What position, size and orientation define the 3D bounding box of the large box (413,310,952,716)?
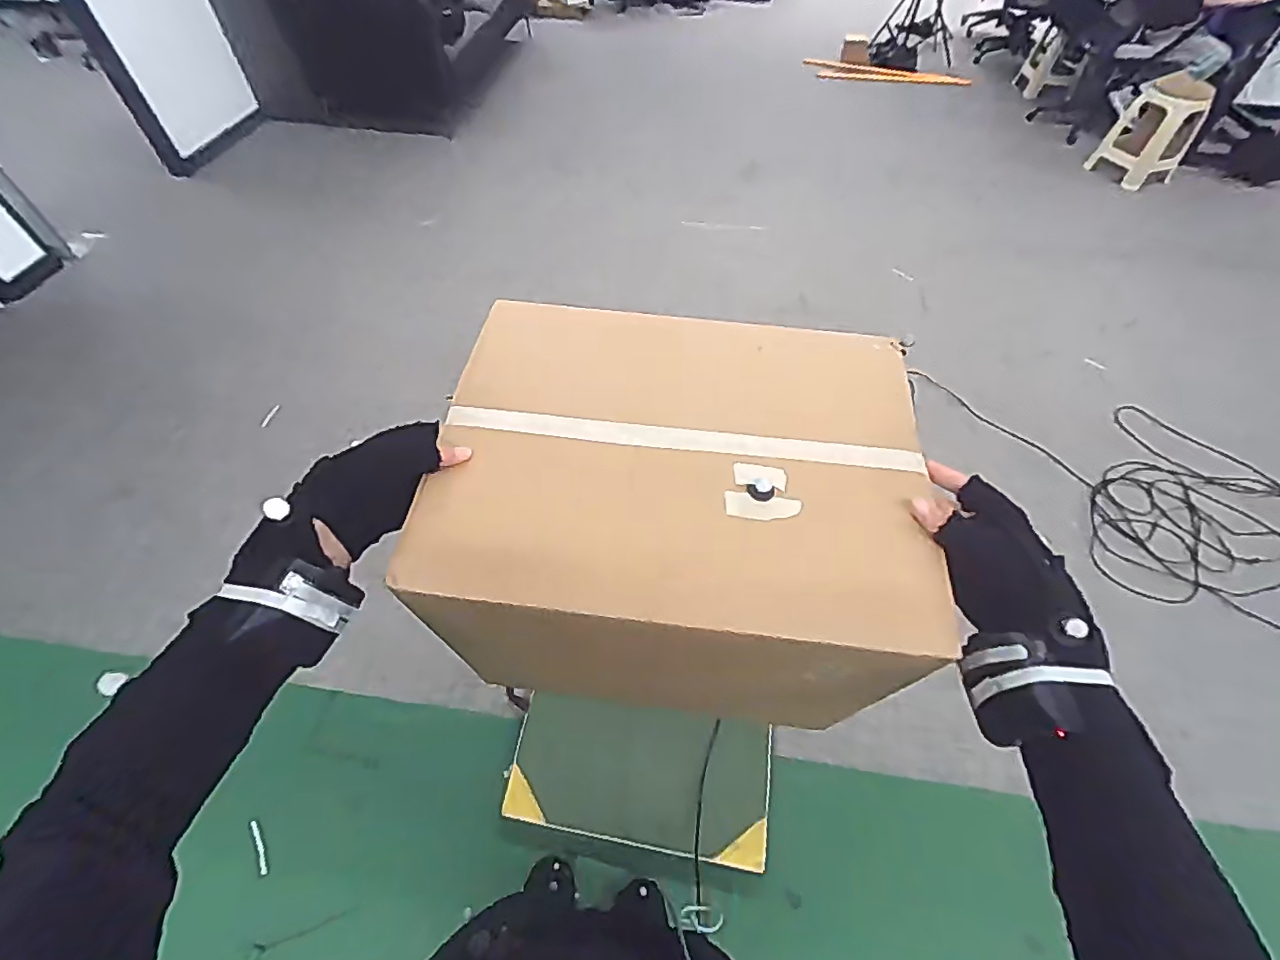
[{"bbox_3d":[0.037,0.050,0.596,0.408,0.320,0.320,7,58,2],"label":"large box"}]
